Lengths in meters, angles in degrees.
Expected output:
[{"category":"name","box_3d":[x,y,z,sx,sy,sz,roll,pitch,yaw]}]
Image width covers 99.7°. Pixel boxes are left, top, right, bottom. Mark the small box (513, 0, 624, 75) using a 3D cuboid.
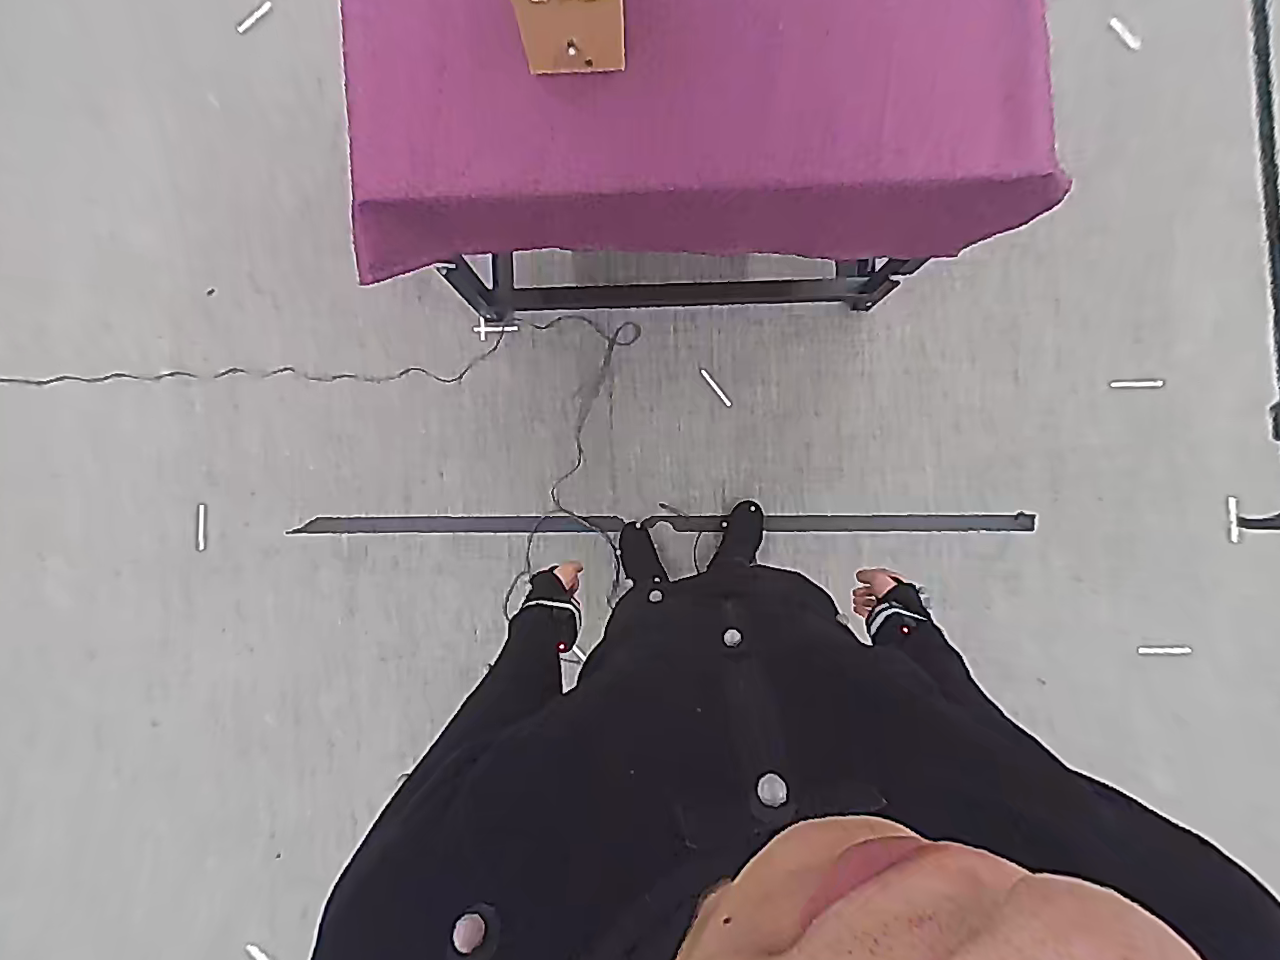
[{"category":"small box","box_3d":[-0.112,-0.793,0.859,0.168,0.176,0.179,-2,88,1]}]
